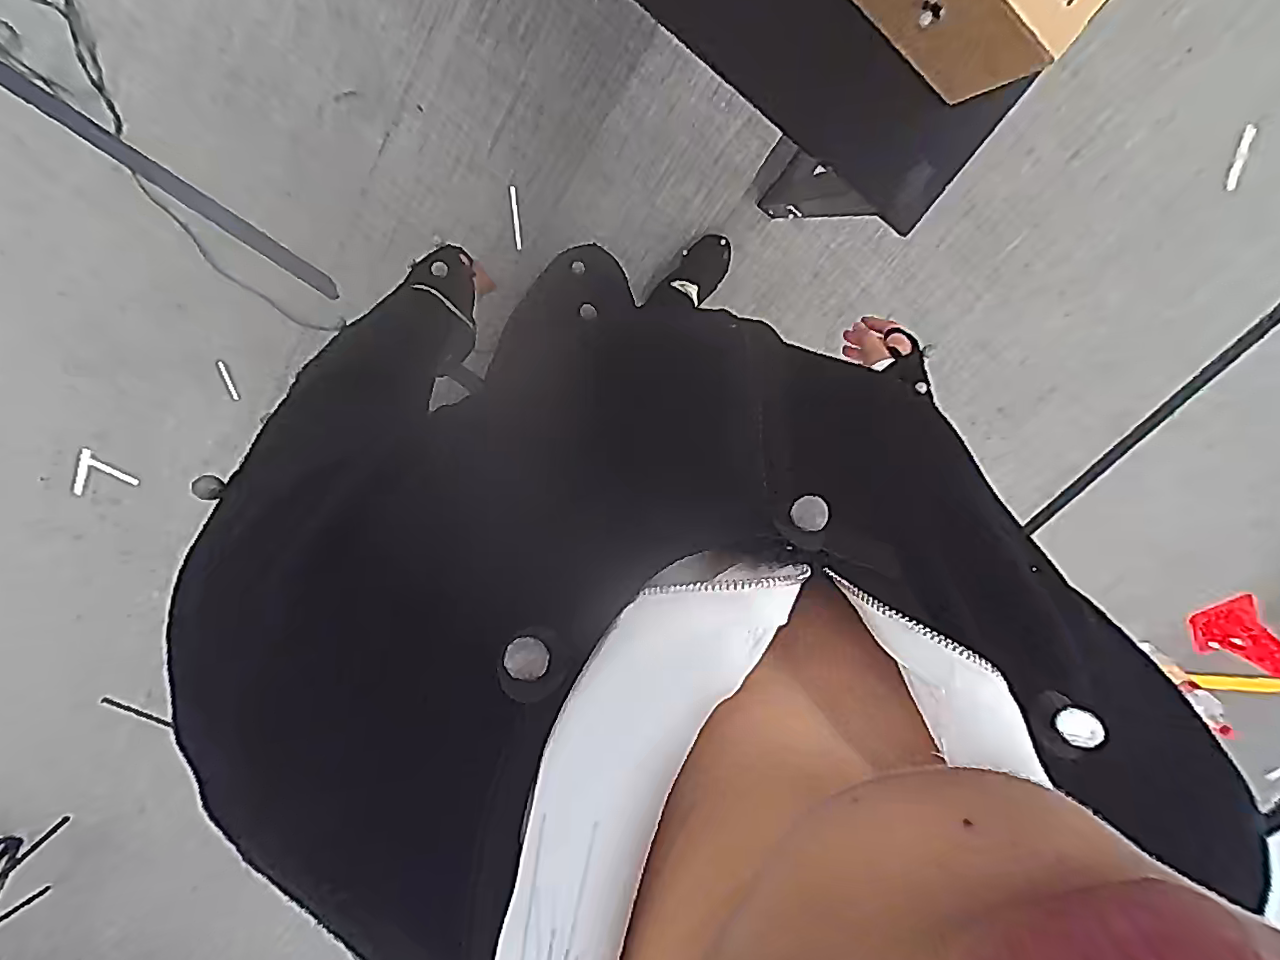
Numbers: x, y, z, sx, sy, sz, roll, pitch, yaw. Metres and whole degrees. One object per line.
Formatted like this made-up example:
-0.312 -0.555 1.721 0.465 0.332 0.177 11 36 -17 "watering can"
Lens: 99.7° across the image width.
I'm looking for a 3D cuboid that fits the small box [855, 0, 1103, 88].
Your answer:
0.309 -0.477 0.460 0.179 0.176 0.168 34 110 -14 "small box"
